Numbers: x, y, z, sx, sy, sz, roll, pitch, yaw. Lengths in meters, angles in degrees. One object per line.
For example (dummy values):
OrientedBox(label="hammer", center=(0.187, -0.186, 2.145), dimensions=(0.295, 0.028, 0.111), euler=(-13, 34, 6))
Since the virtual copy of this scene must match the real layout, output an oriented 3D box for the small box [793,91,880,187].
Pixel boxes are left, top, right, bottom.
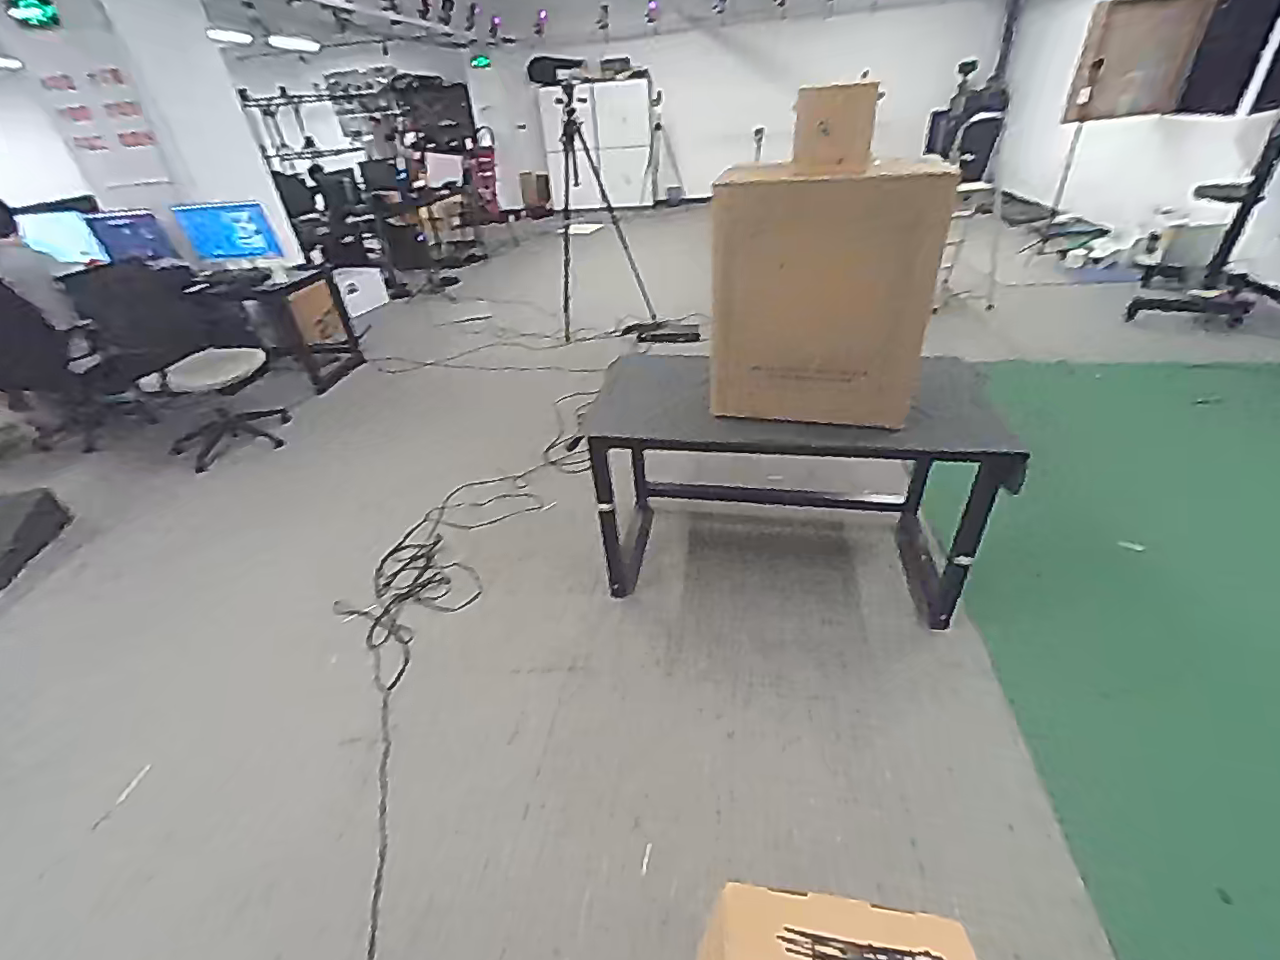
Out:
OrientedBox(label="small box", center=(0.449, -0.778, 1.241), dimensions=(0.168, 0.176, 0.179), euler=(8, 38, 18))
